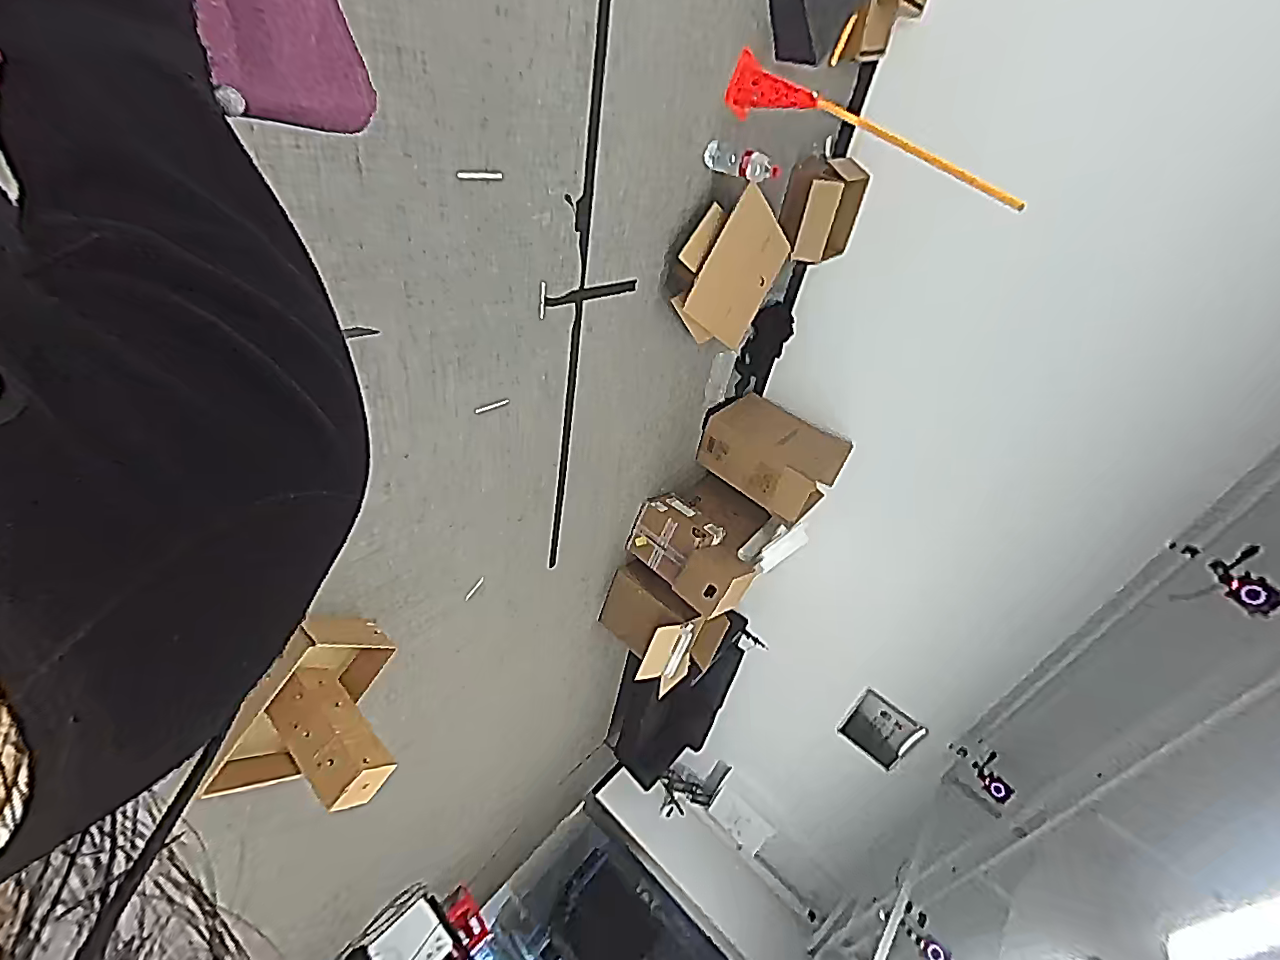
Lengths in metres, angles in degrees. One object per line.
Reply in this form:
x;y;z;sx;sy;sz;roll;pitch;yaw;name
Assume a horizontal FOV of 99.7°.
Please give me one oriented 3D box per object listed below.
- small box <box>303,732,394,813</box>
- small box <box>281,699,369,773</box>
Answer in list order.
-0.991;0.984;1.838;0.168;0.176;0.179;-52;155;-6;small box
-1.110;0.892;1.901;0.168;0.176;0.179;-51;154;-7;small box
